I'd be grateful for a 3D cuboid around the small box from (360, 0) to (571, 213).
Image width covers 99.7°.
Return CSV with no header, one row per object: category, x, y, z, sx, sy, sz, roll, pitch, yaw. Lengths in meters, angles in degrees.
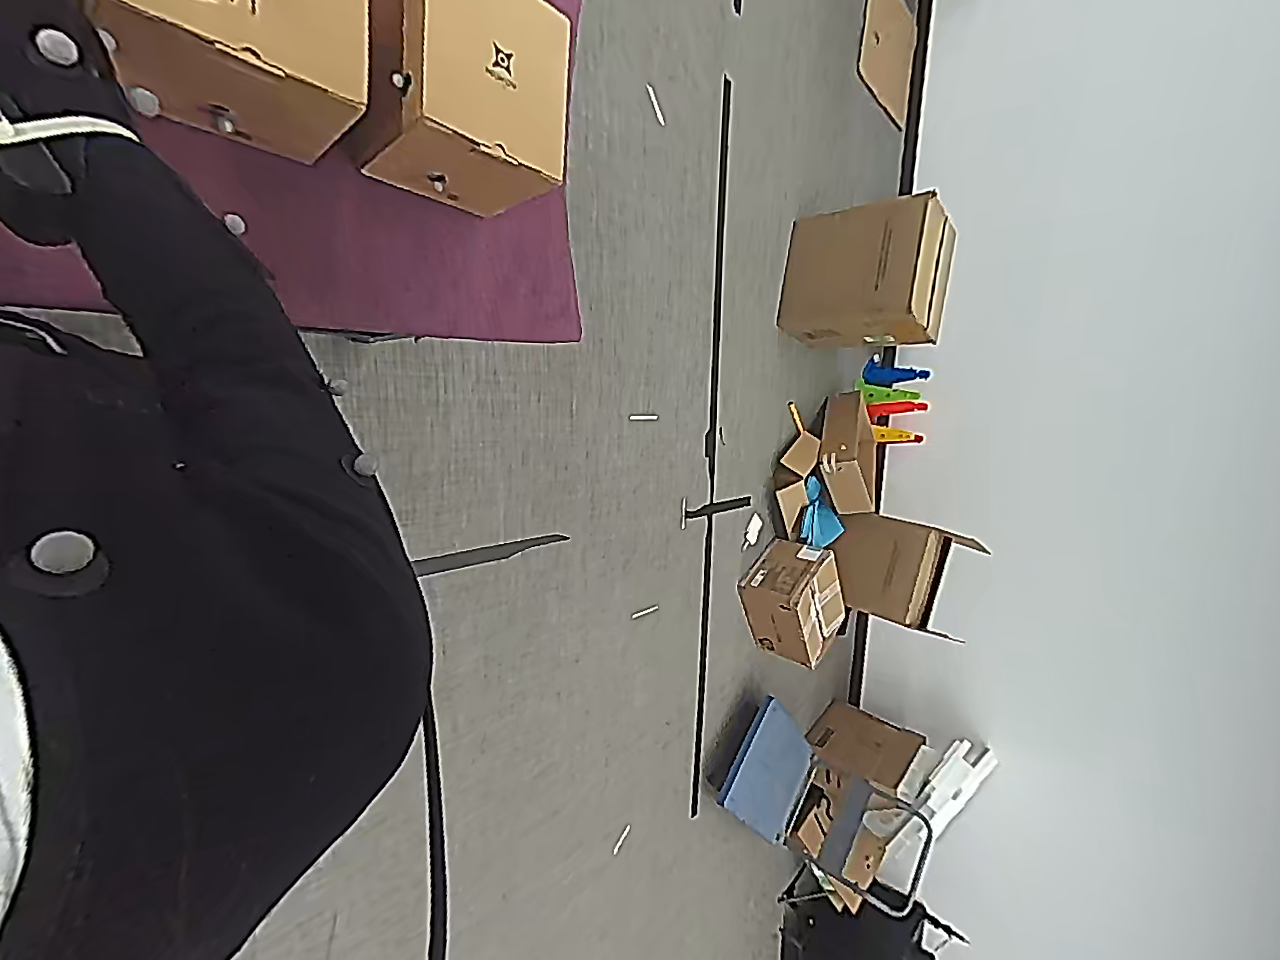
small box,-0.195,-0.427,0.600,0.168,0.176,0.179,-2,99,-46
